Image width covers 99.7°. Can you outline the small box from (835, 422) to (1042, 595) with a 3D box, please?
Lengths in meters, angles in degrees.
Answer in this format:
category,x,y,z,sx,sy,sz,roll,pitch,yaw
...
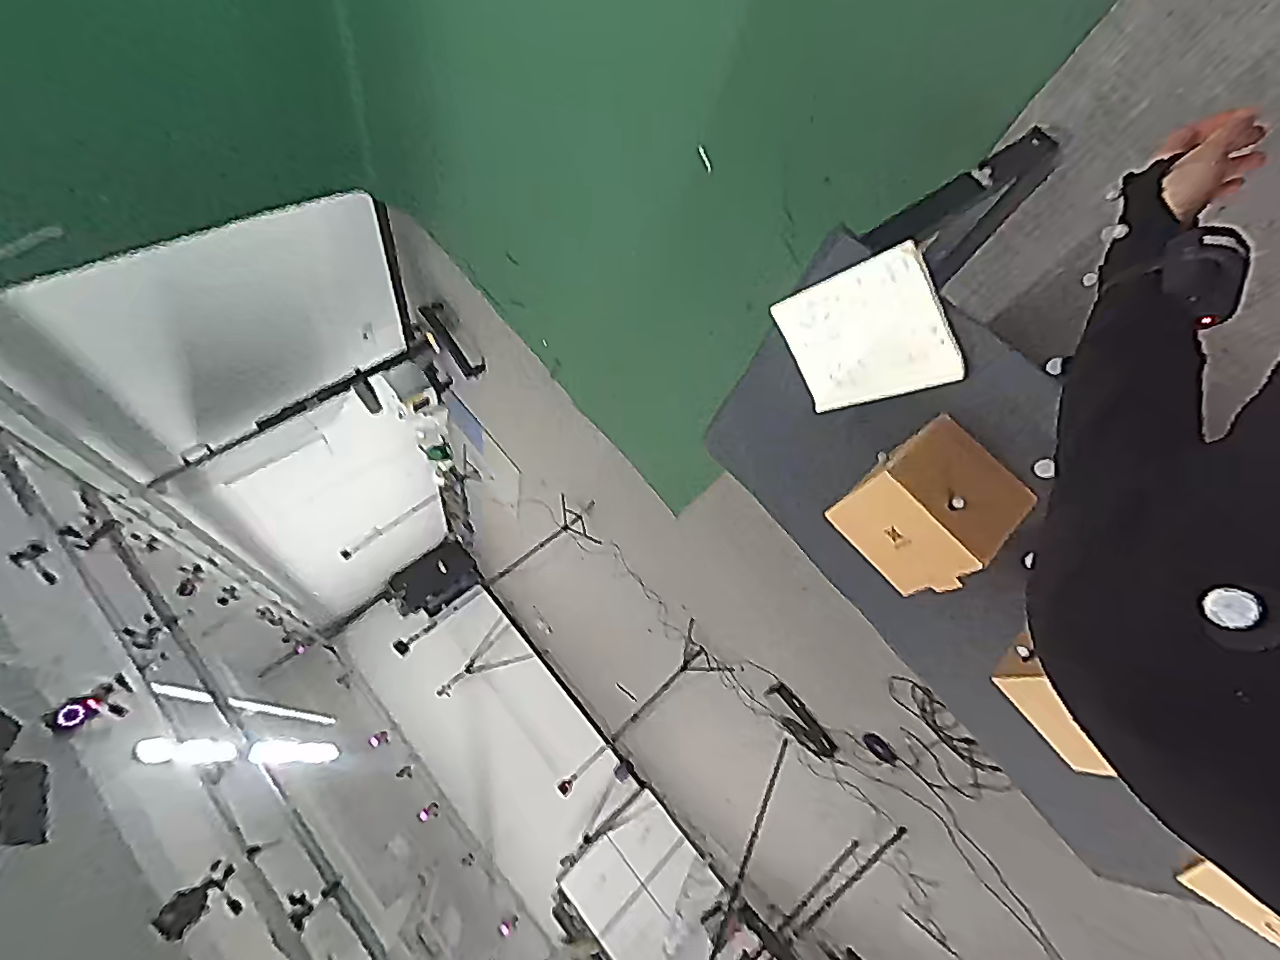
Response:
category,x,y,z,sx,sy,sz,roll,pitch,yaw
small box,0.440,0.036,0.808,0.179,0.176,0.168,47,153,11

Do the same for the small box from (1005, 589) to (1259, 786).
category,x,y,z,sx,sy,sz,roll,pitch,yaw
small box,0.658,0.273,0.732,0.168,0.176,0.179,49,153,8
